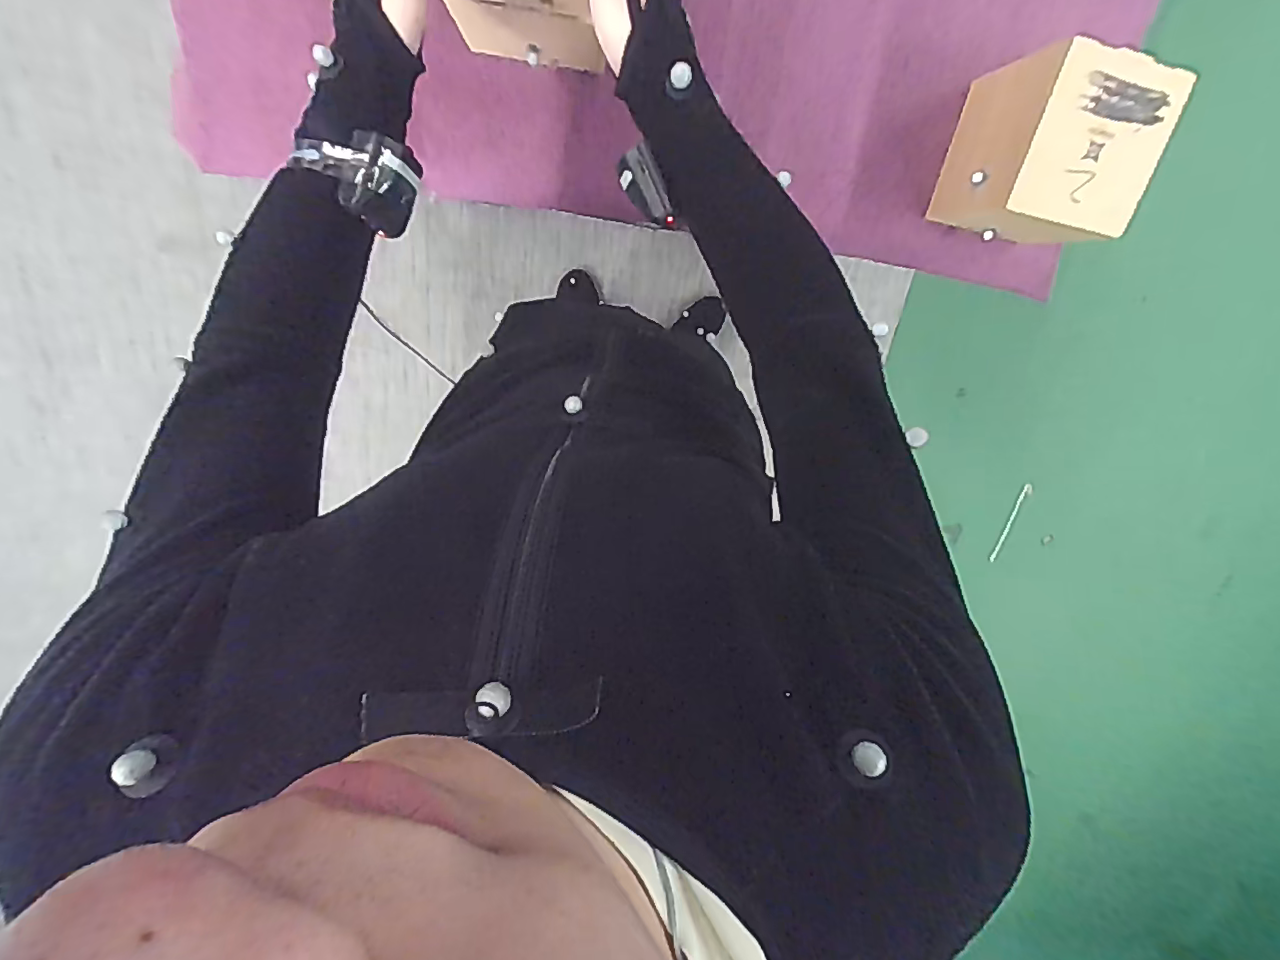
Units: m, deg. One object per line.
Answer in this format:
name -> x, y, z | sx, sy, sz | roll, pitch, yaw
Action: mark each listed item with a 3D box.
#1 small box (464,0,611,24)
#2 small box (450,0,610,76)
small box -> -0.094, -0.504, 0.419 | 0.168, 0.176, 0.179 | 4, 113, -7
small box -> -0.111, -0.566, 0.569 | 0.168, 0.176, 0.179 | 4, 113, -8
